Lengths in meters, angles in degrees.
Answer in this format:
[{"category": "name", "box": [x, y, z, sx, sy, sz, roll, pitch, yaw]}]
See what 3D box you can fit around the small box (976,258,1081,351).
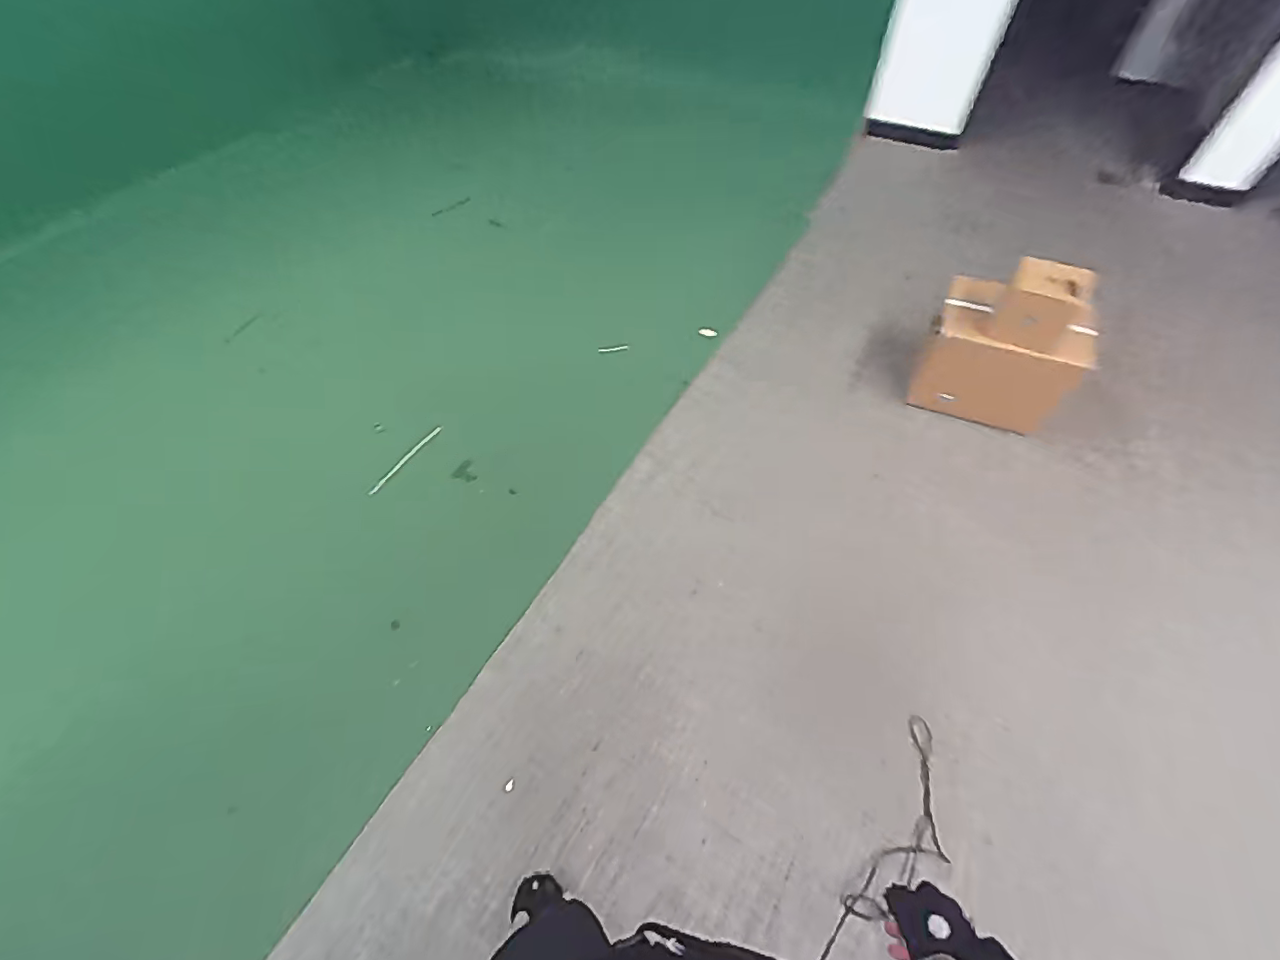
[{"category": "small box", "box": [1.102, -0.494, 1.541, 0.179, 0.176, 0.168, 23, 61, 18]}]
